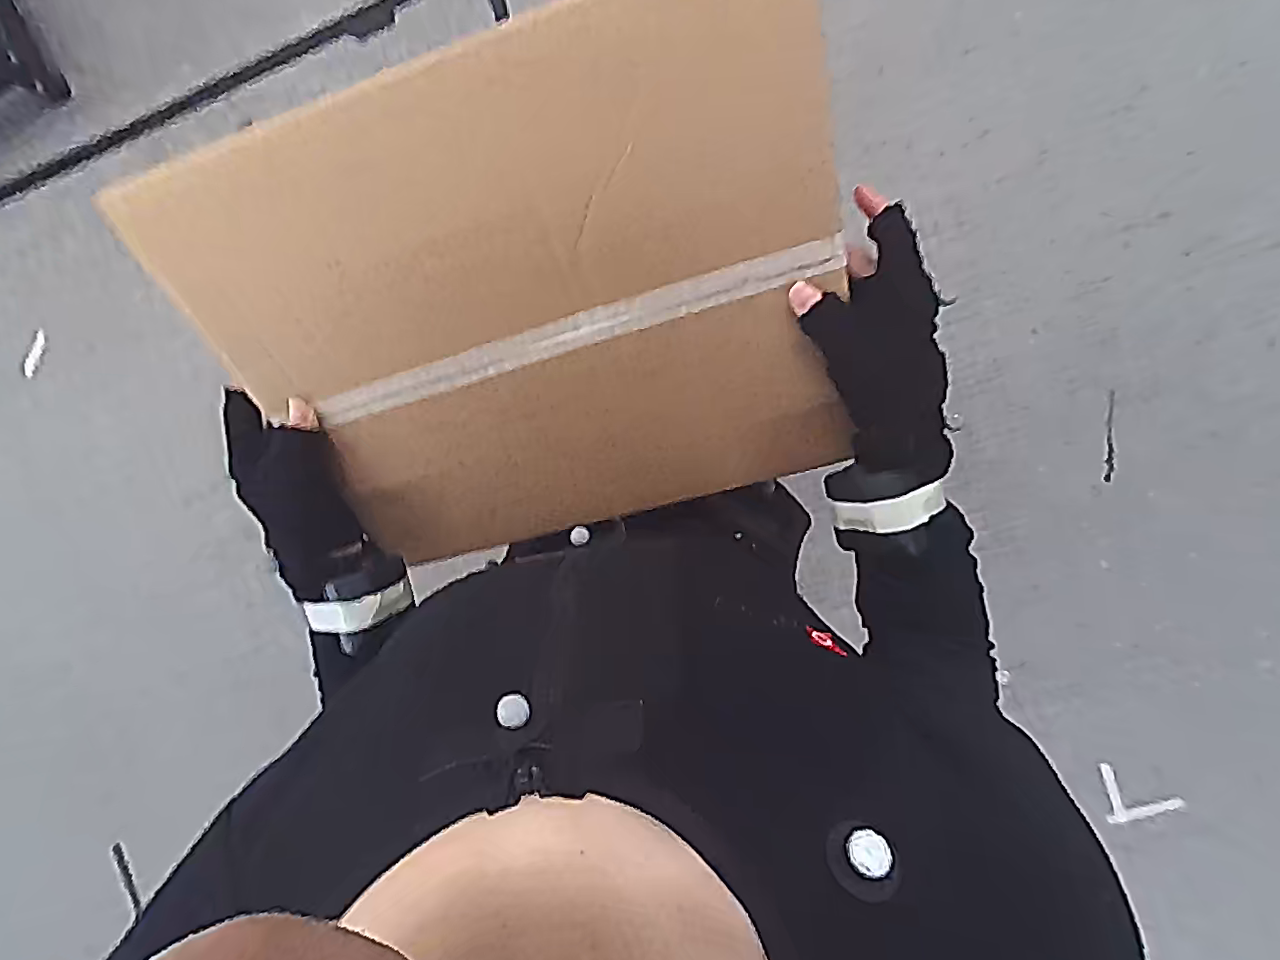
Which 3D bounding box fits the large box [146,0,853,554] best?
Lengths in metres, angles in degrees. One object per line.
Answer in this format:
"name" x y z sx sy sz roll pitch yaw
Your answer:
"large box" -0.069 -0.184 0.493 0.408 0.320 0.320 -14 125 10
